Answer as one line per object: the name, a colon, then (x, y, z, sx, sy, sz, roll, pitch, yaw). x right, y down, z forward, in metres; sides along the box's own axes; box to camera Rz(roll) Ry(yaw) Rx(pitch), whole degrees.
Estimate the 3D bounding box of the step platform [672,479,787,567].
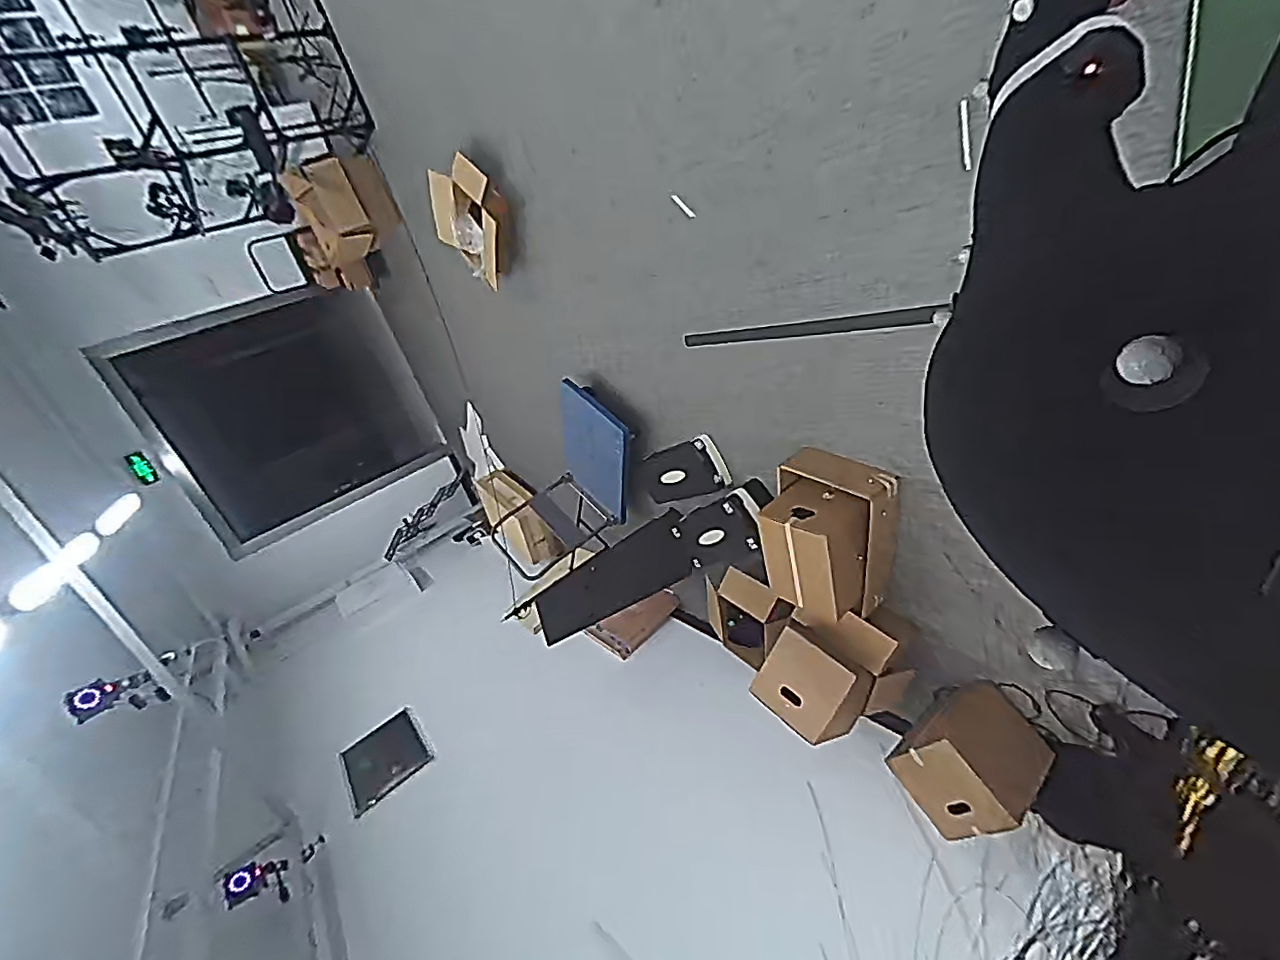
step platform: (0.420, 0.237, 2.721, 0.286, 0.204, 0.684, 56, 151, 3)
